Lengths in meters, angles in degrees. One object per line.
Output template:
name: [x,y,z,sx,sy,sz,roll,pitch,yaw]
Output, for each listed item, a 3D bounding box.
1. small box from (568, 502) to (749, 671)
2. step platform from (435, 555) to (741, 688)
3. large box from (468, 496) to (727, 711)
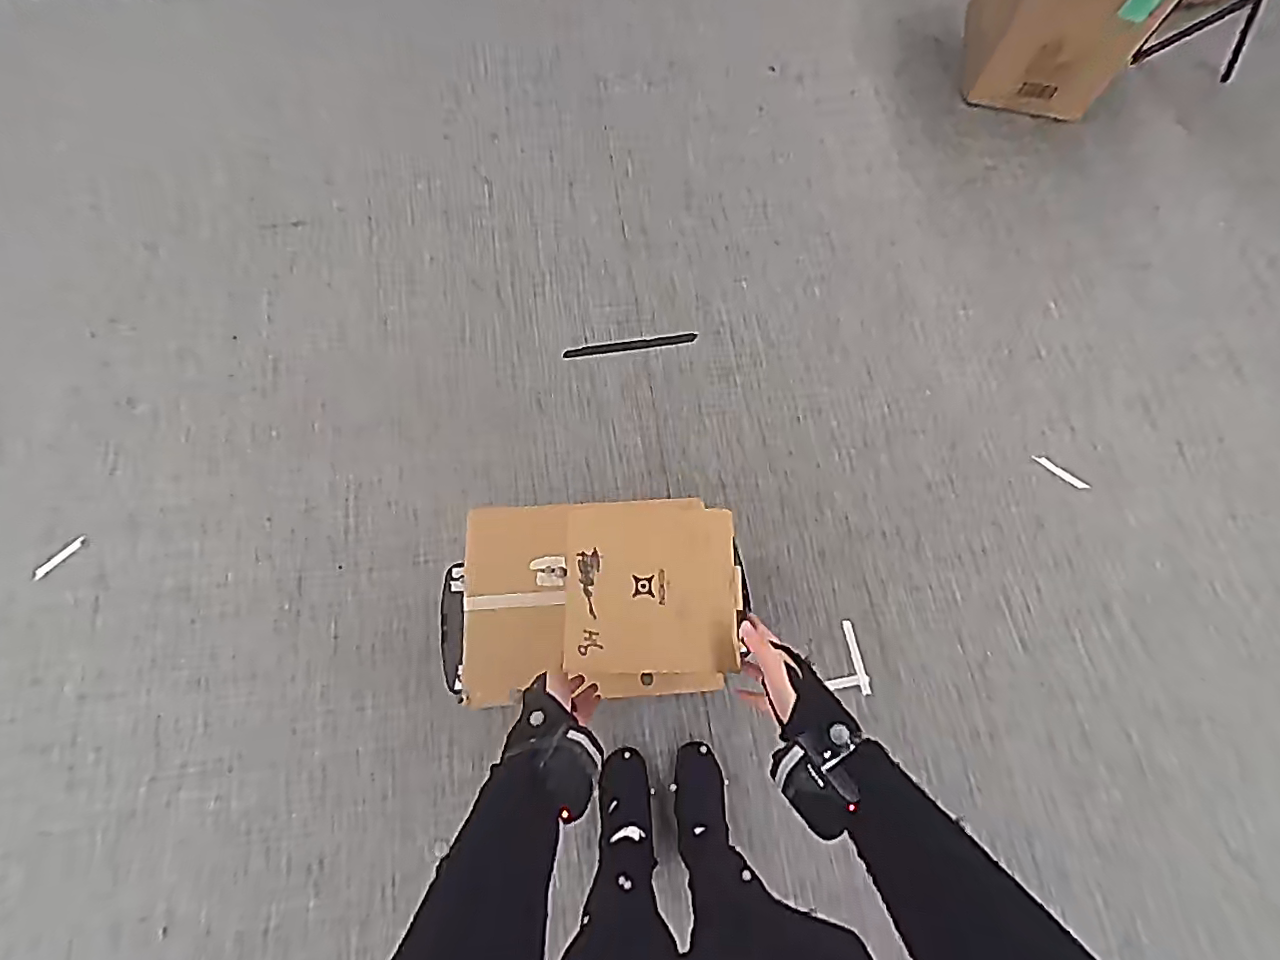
small box: [0.015,0.127,0.614,0.179,0.176,0.168,1,71,-2]
step platform: [-0.105,0.311,1.231,0.684,0.204,0.286,-2,72,-1]
large box: [-0.074,0.232,1.007,0.408,0.320,0.320,-4,71,-1]
